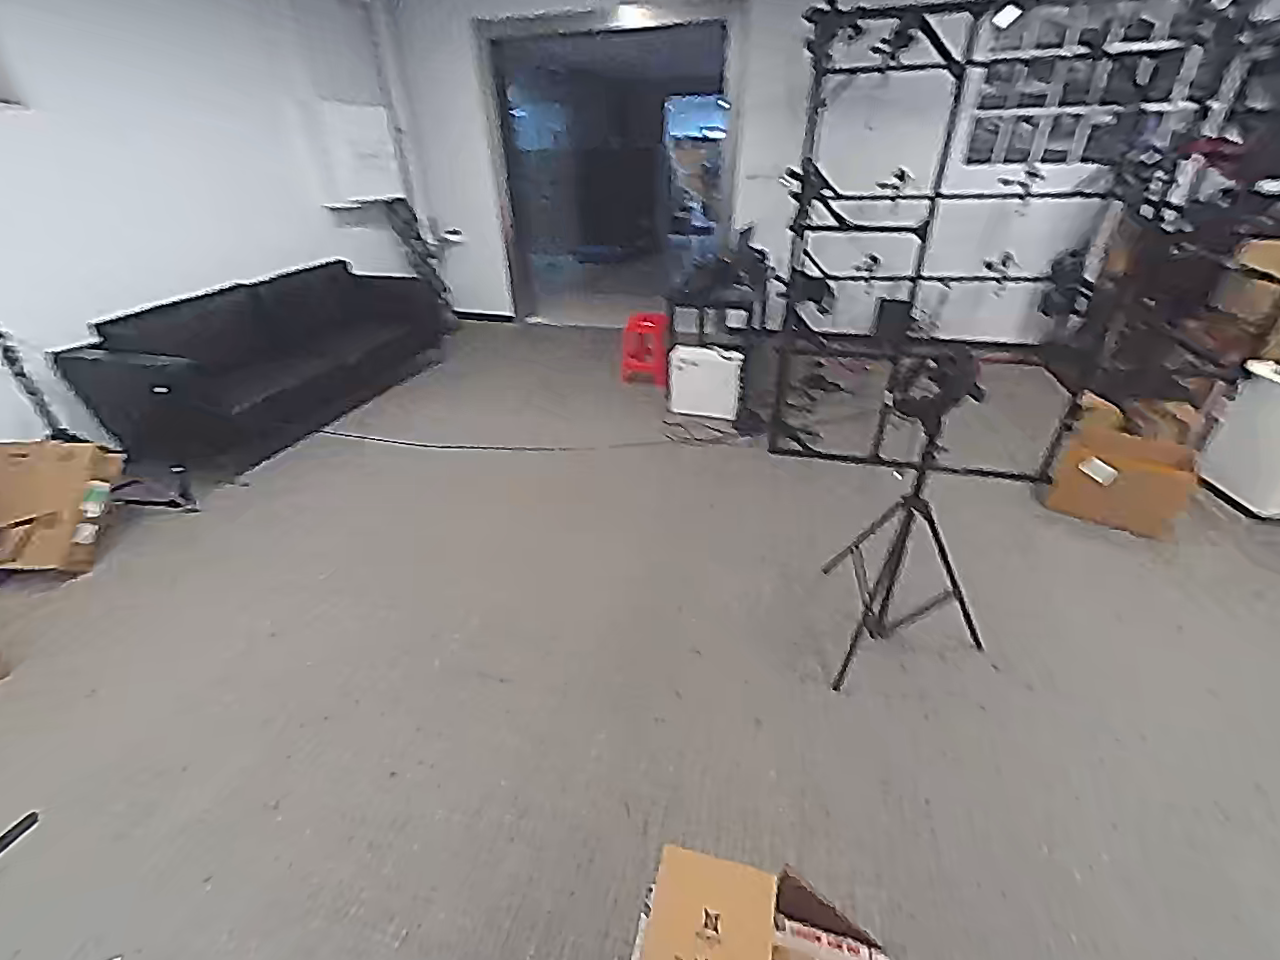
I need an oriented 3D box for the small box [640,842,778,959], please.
[{"bbox_3d":[0.098,0.664,0.765,0.168,0.176,0.179,6,35,15],"label":"small box"}]
